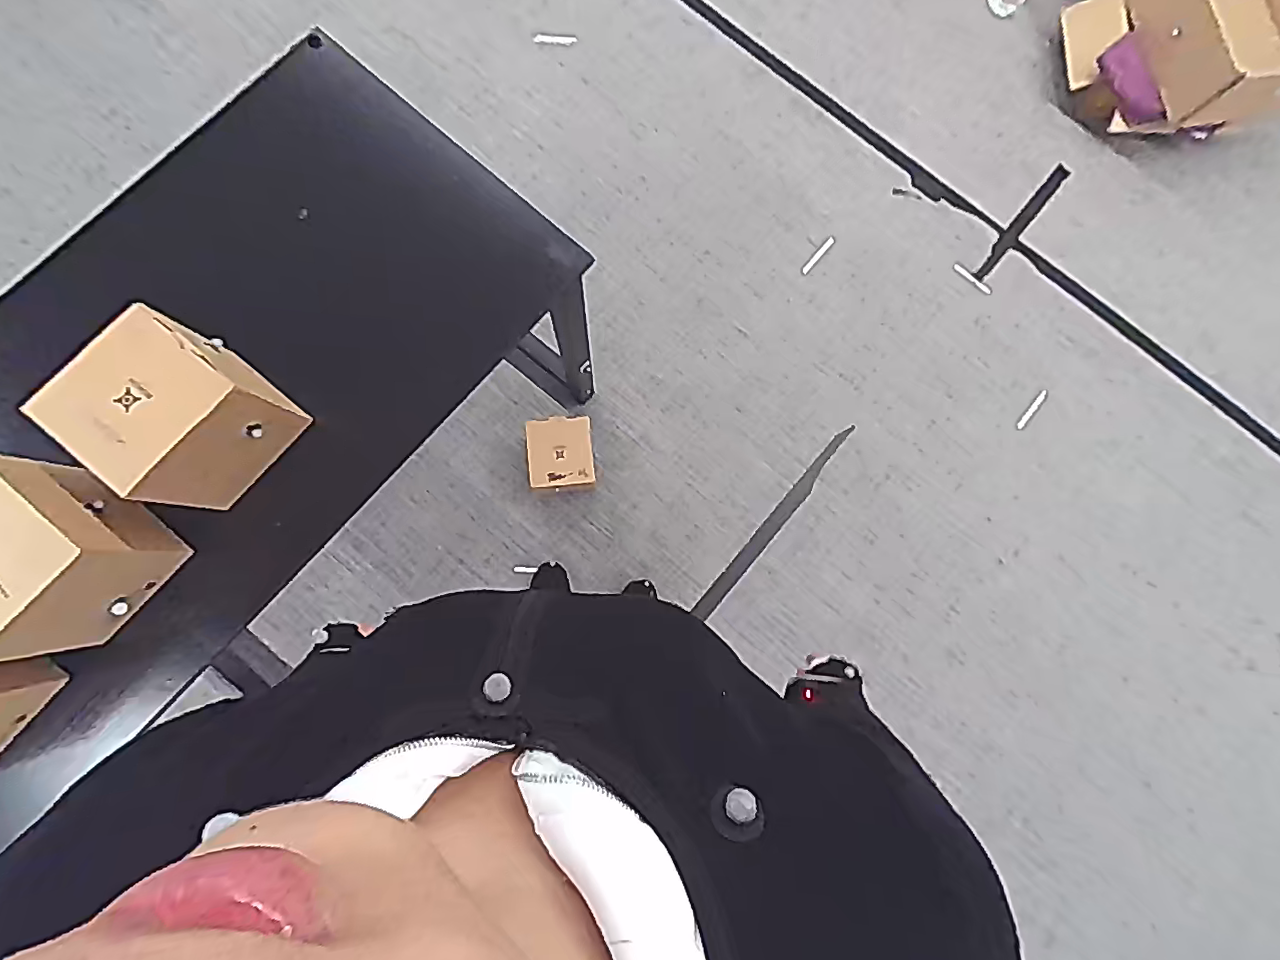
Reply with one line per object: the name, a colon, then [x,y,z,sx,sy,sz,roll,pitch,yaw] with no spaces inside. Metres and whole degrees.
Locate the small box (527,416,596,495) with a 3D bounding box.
small box: [-0.209,-0.062,1.459,0.168,0.176,0.179,-6,83,-4]

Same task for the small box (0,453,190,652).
small box: [-0.734,0.094,0.669,0.179,0.176,0.168,40,82,2]

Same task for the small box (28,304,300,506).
small box: [-0.590,-0.085,0.705,0.168,0.176,0.179,40,83,3]
